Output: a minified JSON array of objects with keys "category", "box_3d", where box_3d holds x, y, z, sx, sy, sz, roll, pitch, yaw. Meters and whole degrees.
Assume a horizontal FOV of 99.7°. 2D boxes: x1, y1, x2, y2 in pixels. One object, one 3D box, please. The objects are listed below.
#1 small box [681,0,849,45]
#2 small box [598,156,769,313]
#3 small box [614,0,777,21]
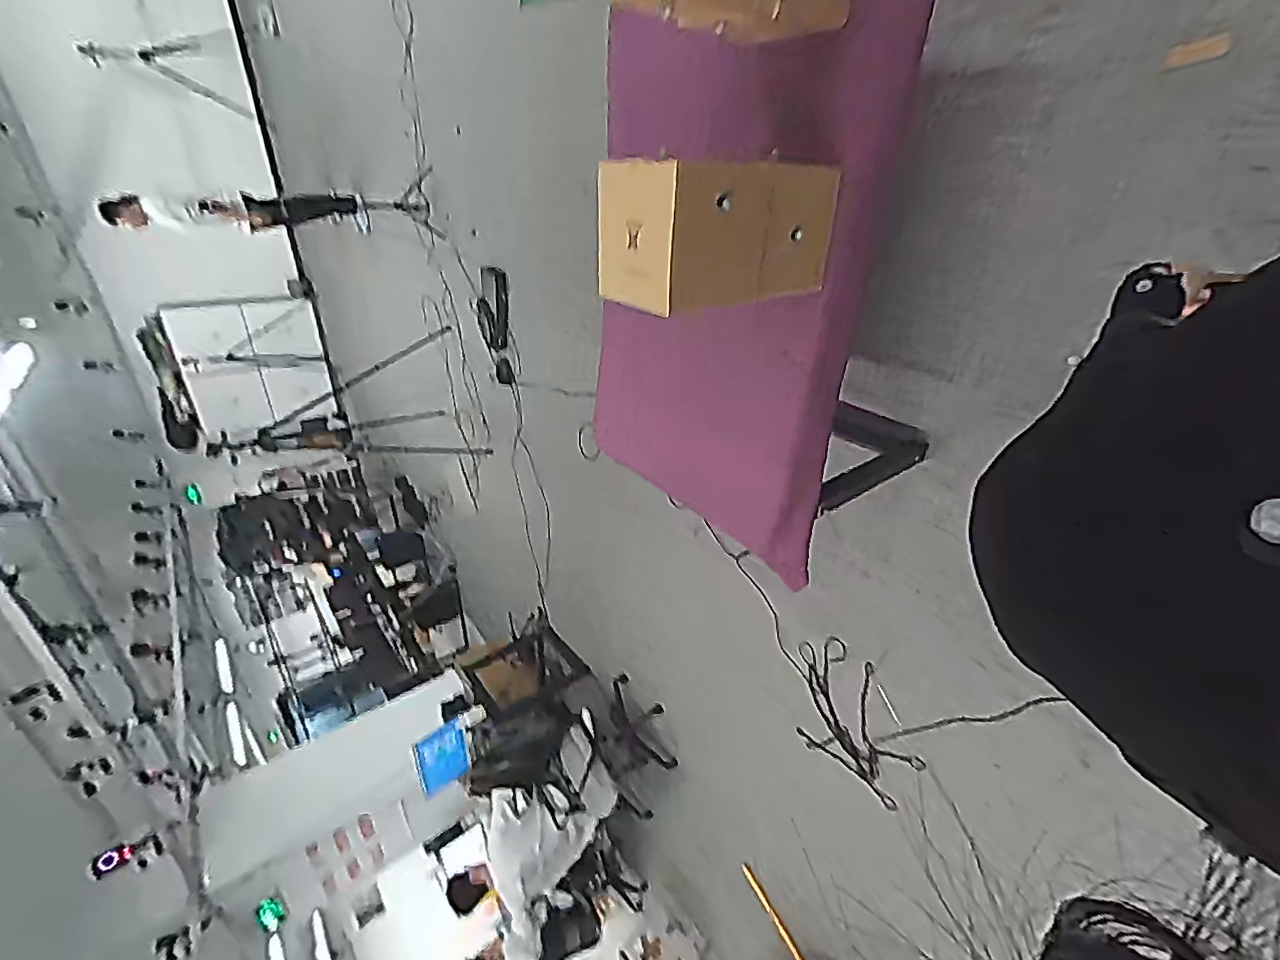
[{"category":"small box","box_3d":[0.173,-0.706,0.709,0.168,0.176,0.179,34,132,44]},{"category":"small box","box_3d":[0.057,-0.345,0.754,0.168,0.176,0.179,35,133,44]},{"category":"small box","box_3d":[0.055,-0.641,0.614,0.179,0.176,0.168,40,136,37]}]
